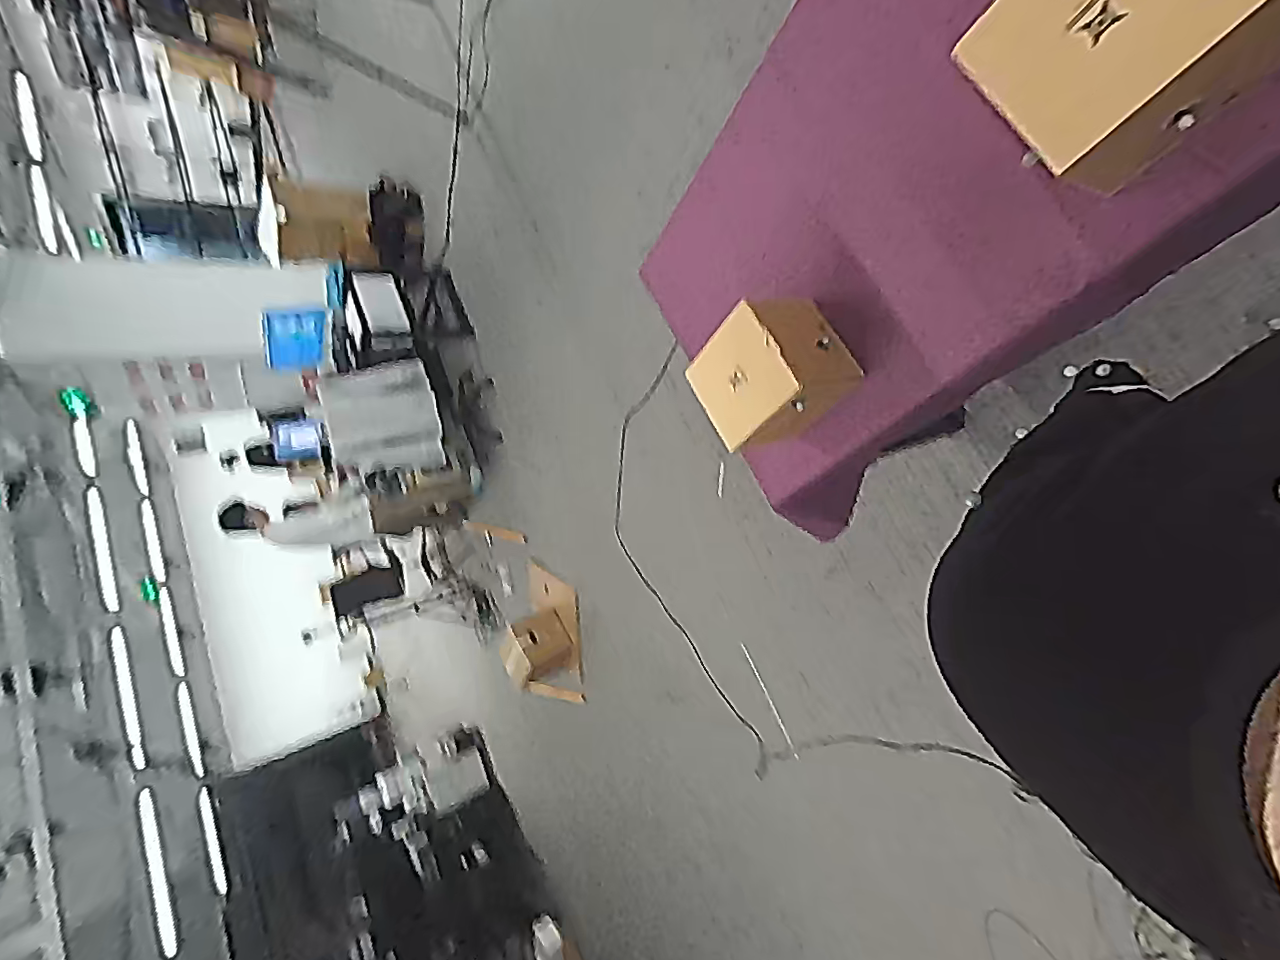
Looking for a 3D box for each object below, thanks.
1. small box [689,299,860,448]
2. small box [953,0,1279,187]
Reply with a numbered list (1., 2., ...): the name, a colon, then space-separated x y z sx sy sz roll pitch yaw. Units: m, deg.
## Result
1. small box: 0.218 -0.172 0.888 0.179 0.176 0.168 -48 62 47
2. small box: 0.448 -0.404 0.505 0.168 0.176 0.179 -44 65 49
